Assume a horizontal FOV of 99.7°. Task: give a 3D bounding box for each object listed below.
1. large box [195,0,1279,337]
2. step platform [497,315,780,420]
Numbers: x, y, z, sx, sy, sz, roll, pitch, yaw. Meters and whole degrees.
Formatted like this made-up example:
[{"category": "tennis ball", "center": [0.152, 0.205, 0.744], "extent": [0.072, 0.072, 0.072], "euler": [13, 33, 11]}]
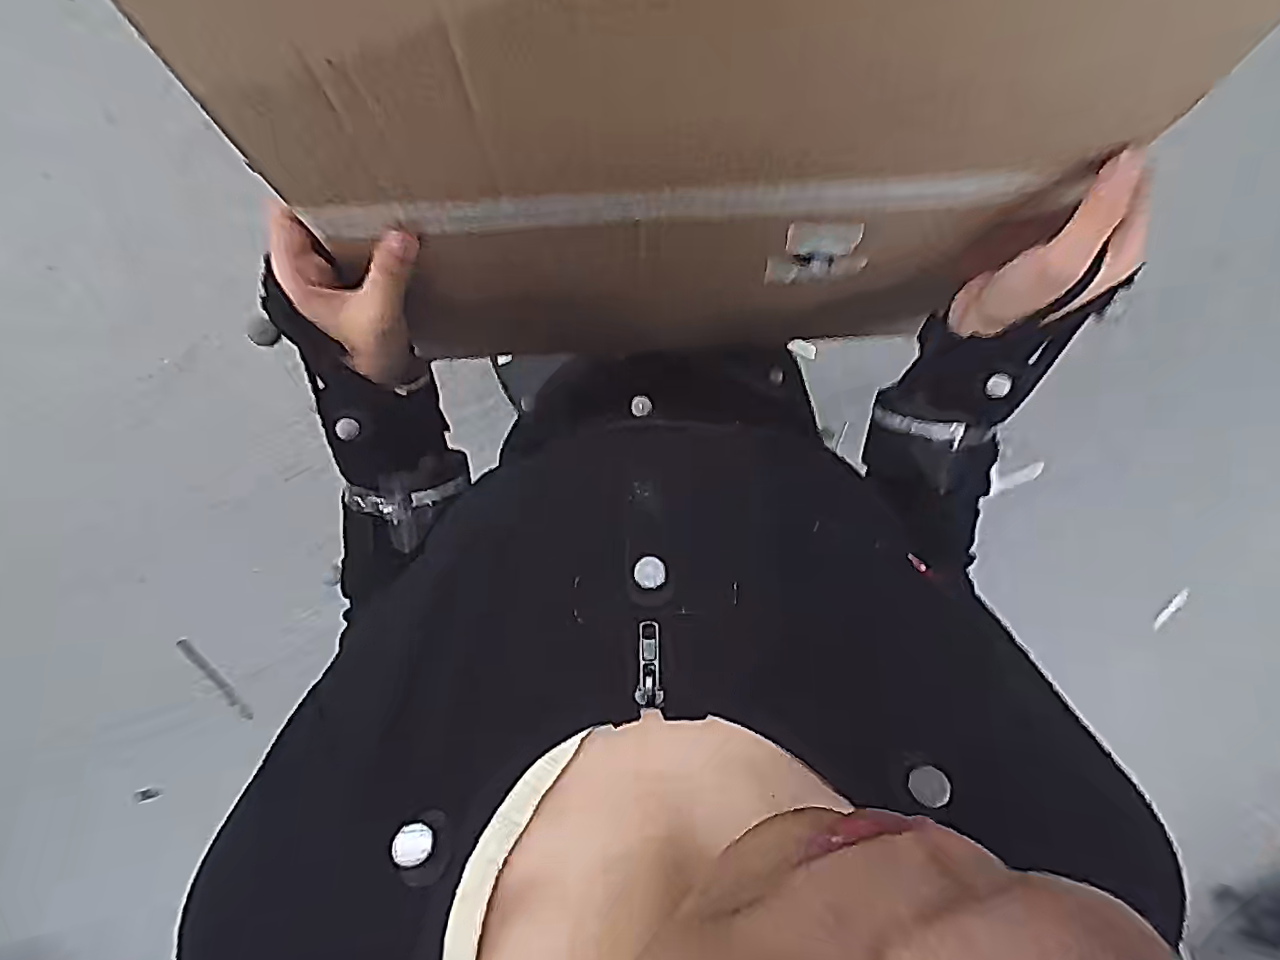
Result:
[{"category": "large box", "center": [0.039, -0.298, 0.279], "extent": [0.408, 0.320, 0.320], "euler": [-4, 76, -1]}, {"category": "step platform", "center": [-0.006, -0.387, 1.346], "extent": [0.684, 0.204, 0.286], "euler": [-18, 112, 7]}]
